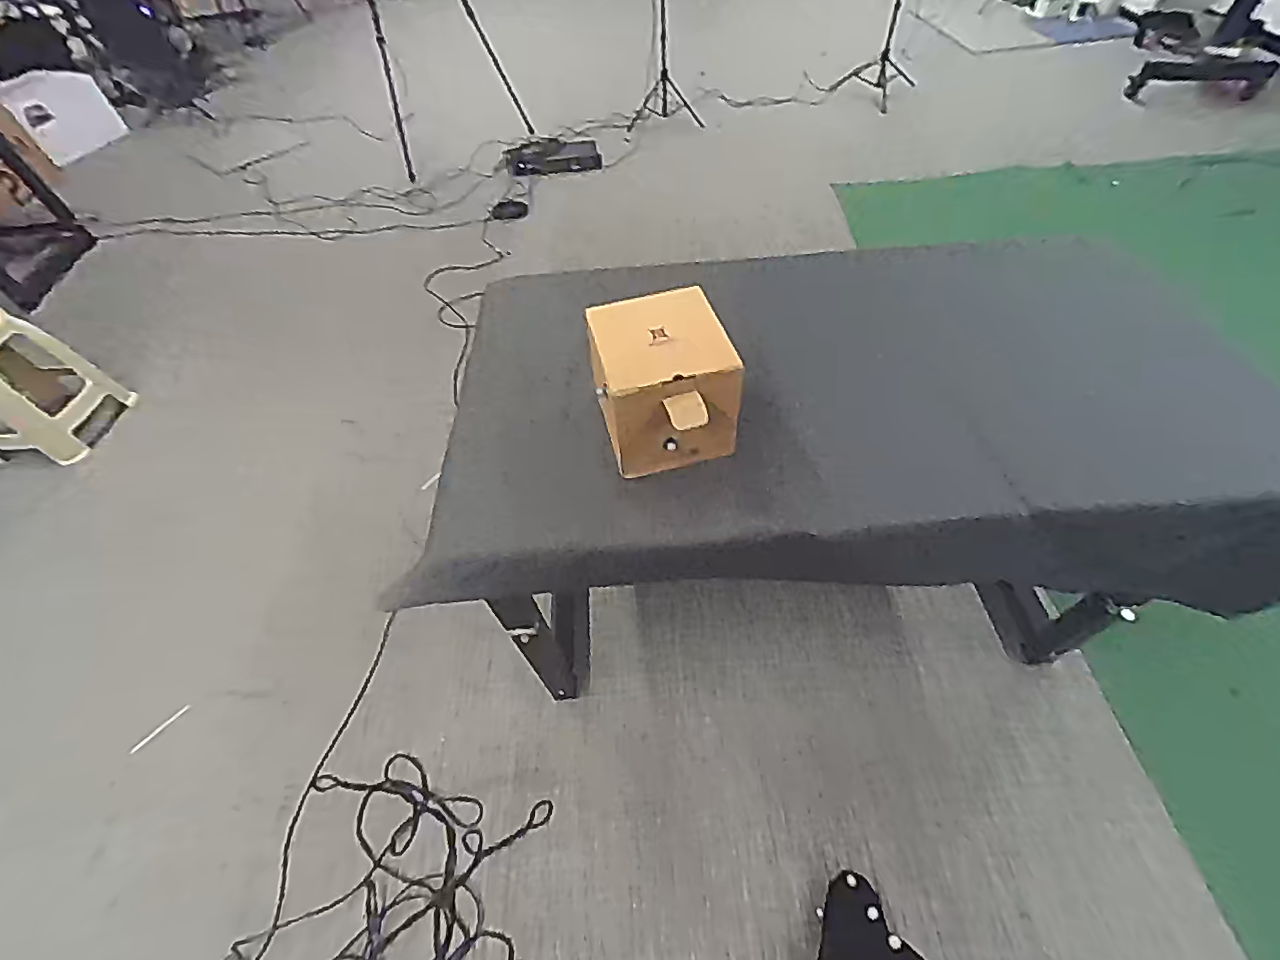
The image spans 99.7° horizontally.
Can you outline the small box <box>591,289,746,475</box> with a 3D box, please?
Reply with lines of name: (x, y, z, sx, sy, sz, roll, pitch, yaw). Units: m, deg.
small box: (0.033, -0.136, 0.758, 0.168, 0.176, 0.179, -13, 53, -7)
